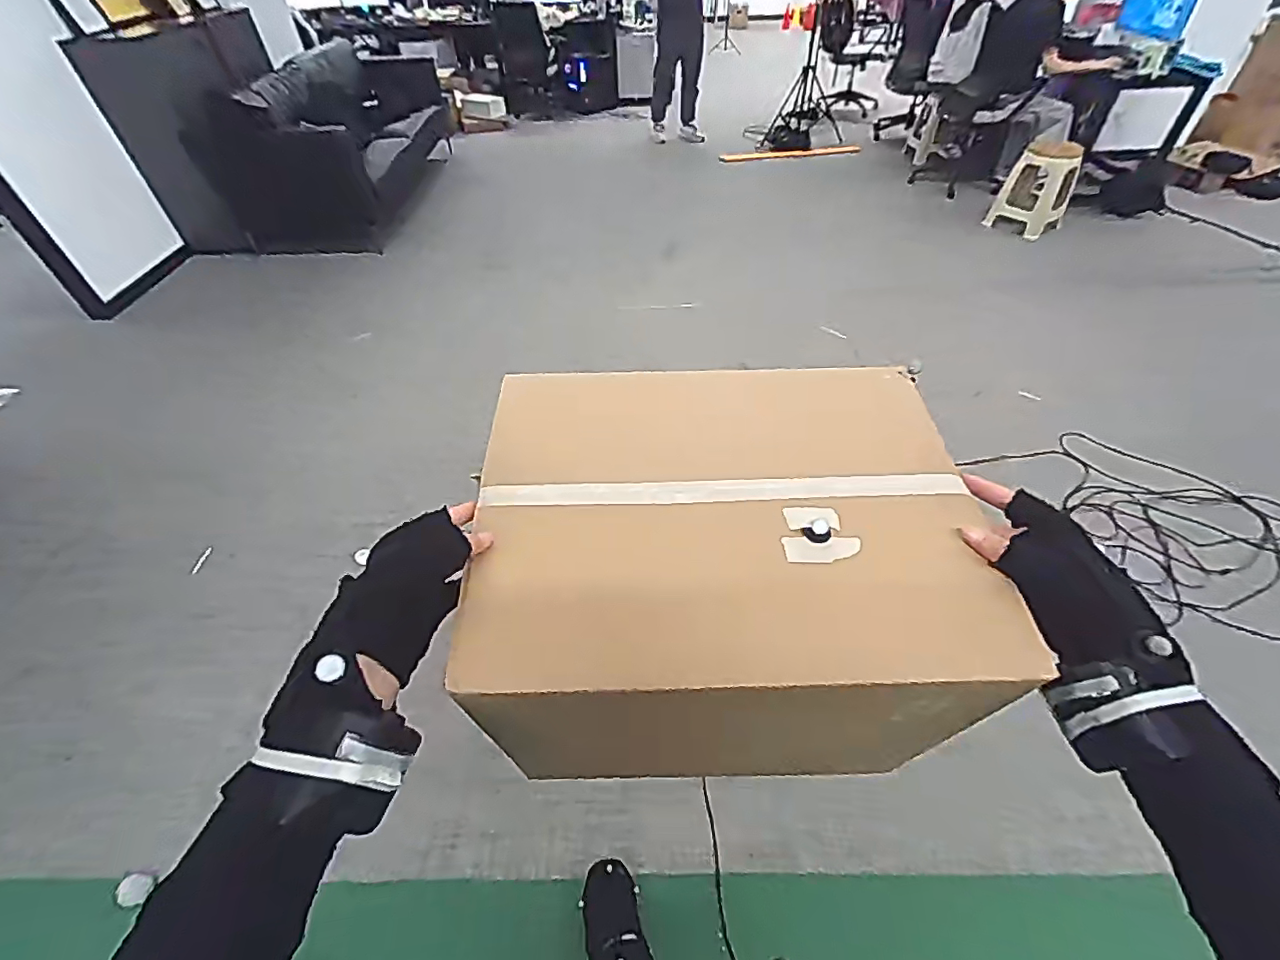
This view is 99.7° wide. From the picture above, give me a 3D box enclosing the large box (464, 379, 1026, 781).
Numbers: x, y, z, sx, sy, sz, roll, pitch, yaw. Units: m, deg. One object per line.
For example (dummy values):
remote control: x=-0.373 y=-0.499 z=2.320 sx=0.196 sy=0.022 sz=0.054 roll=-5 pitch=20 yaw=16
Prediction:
large box: x=0.069 y=0.114 z=0.581 sx=0.408 sy=0.320 sz=0.320 roll=-2 pitch=52 yaw=0
